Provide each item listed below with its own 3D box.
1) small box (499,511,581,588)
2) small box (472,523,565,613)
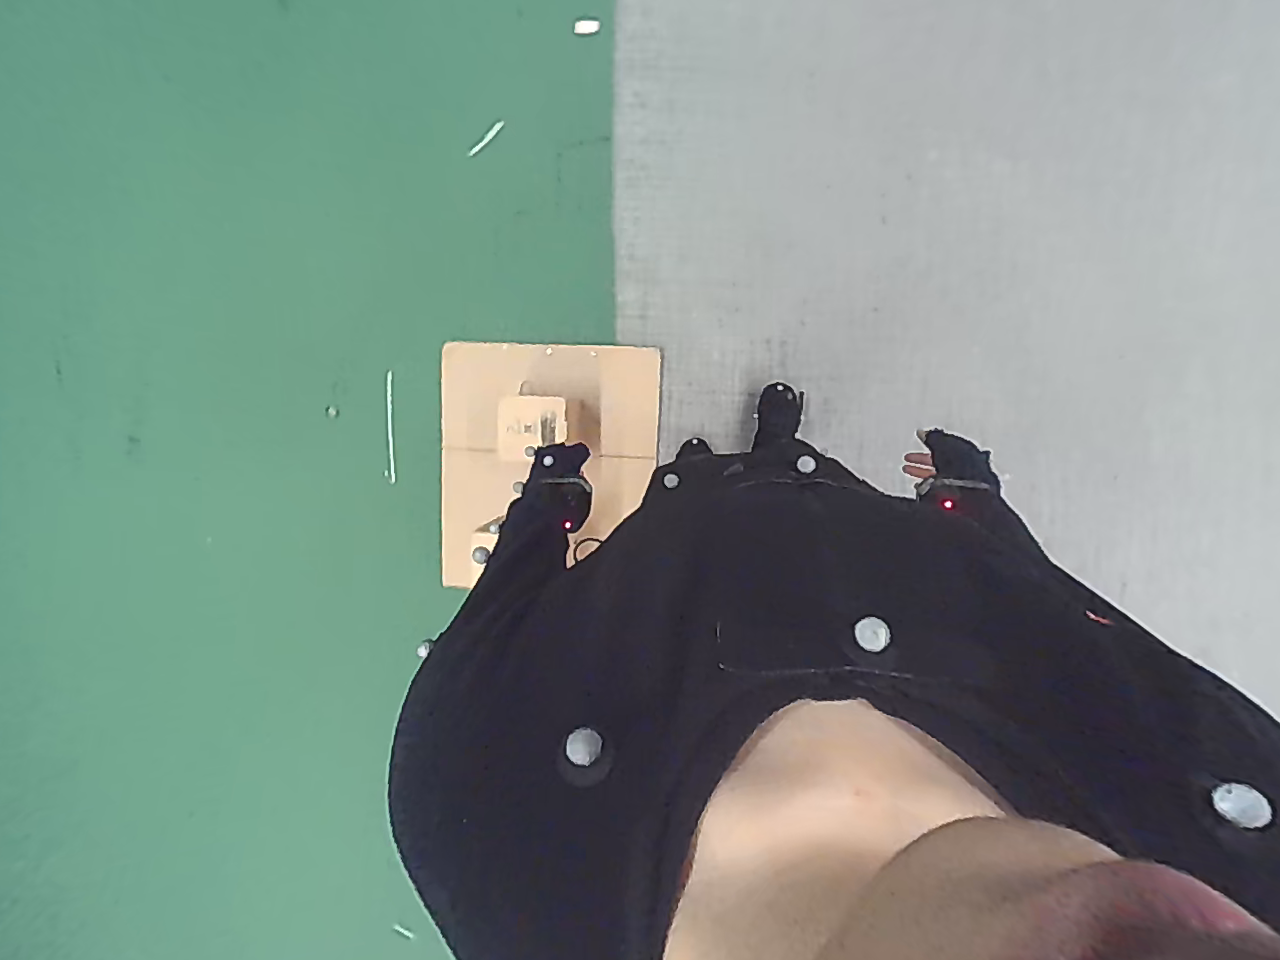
[{"bbox_3d":[-0.260,0.179,1.431,0.179,0.176,0.168,1,98,5],"label":"small box"},{"bbox_3d":[-0.277,0.199,1.269,0.179,0.176,0.168,3,97,6],"label":"small box"}]
